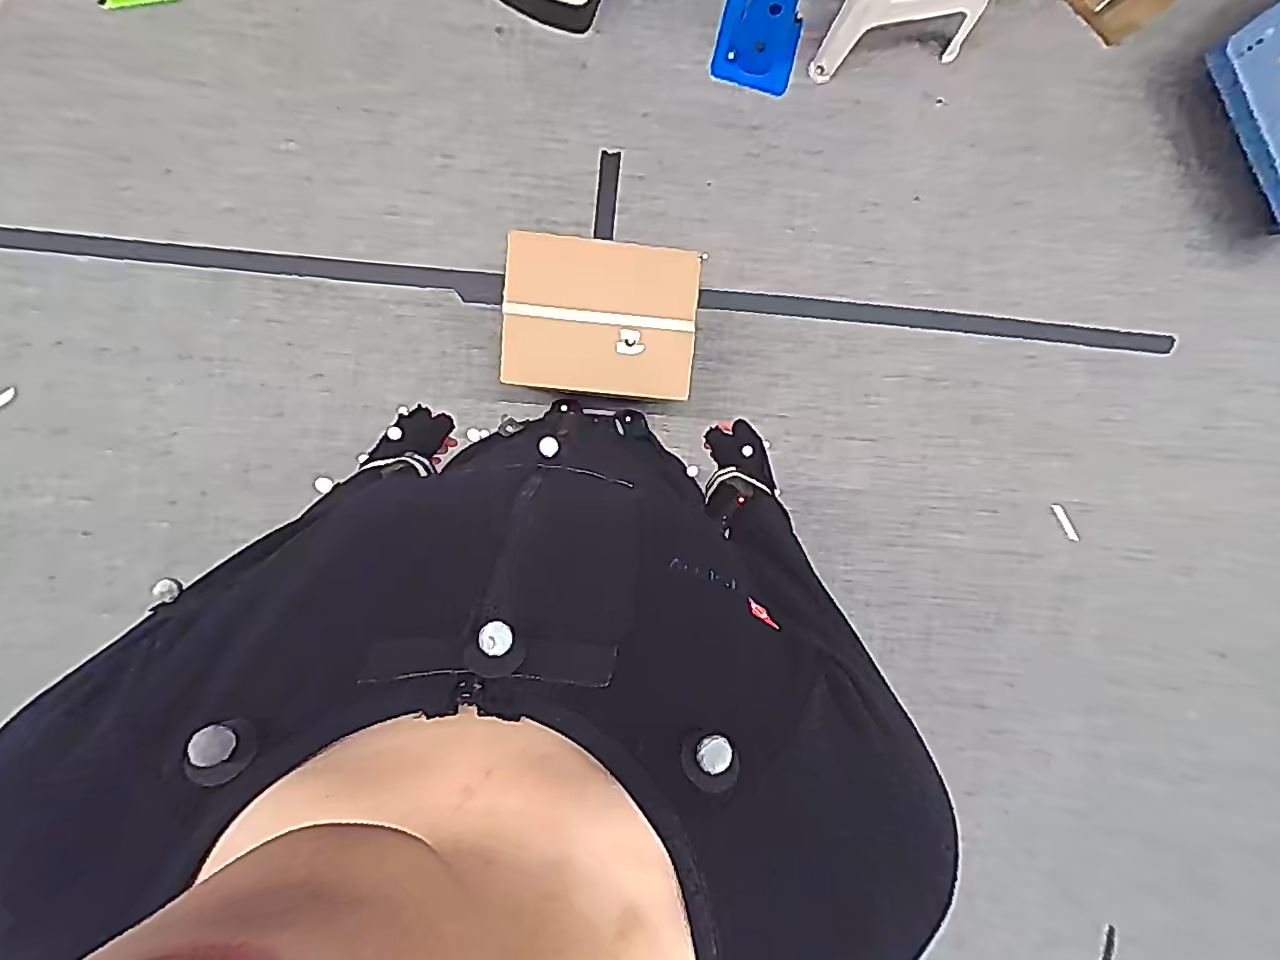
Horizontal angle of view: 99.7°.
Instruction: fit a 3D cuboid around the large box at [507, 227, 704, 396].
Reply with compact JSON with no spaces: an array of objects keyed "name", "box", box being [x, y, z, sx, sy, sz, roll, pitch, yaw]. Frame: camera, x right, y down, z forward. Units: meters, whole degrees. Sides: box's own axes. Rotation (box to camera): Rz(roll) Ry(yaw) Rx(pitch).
[{"name":"large box","box":[-0.086,-0.372,1.281,0.408,0.320,0.320,5,98,-5]}]
